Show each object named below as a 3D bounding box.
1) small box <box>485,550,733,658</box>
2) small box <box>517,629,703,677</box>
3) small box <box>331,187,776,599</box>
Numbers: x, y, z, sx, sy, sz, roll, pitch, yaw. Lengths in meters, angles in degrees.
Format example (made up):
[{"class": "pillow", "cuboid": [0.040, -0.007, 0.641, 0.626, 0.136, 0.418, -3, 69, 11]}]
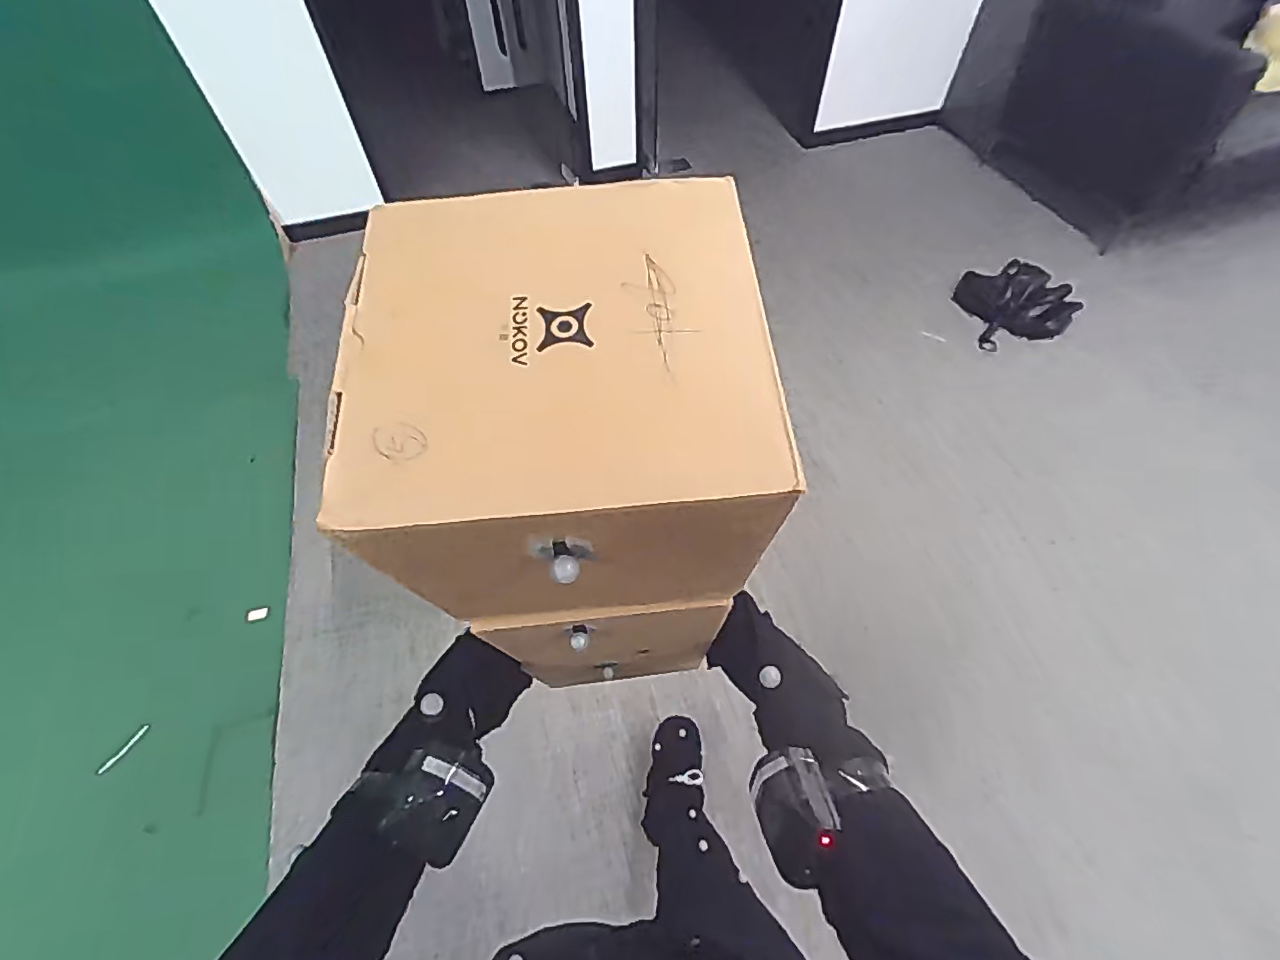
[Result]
[{"class": "small box", "cuboid": [-0.030, 0.040, 0.460, 0.168, 0.176, 0.179, -8, 64, -4]}, {"class": "small box", "cuboid": [-0.032, 0.117, 0.601, 0.179, 0.176, 0.168, -7, 64, -2]}, {"class": "small box", "cuboid": [-0.037, -0.034, 0.312, 0.179, 0.176, 0.168, -5, 65, -2]}]
